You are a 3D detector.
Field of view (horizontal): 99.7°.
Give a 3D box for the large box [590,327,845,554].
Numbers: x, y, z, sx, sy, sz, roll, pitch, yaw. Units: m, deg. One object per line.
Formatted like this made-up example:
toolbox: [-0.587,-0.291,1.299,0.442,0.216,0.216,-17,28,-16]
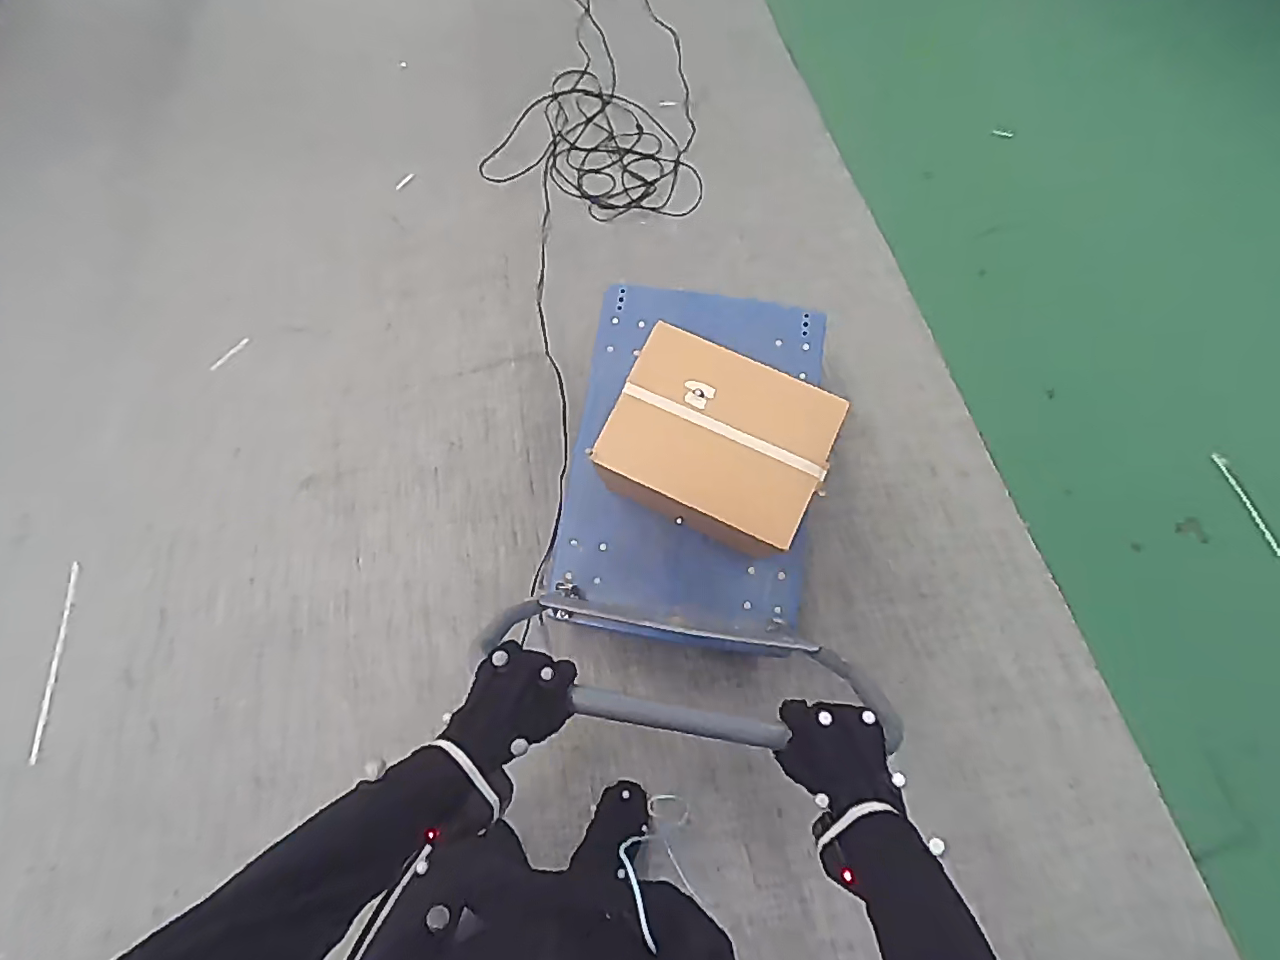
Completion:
large box: [0.156,-0.062,1.160,0.408,0.320,0.320,24,81,7]
